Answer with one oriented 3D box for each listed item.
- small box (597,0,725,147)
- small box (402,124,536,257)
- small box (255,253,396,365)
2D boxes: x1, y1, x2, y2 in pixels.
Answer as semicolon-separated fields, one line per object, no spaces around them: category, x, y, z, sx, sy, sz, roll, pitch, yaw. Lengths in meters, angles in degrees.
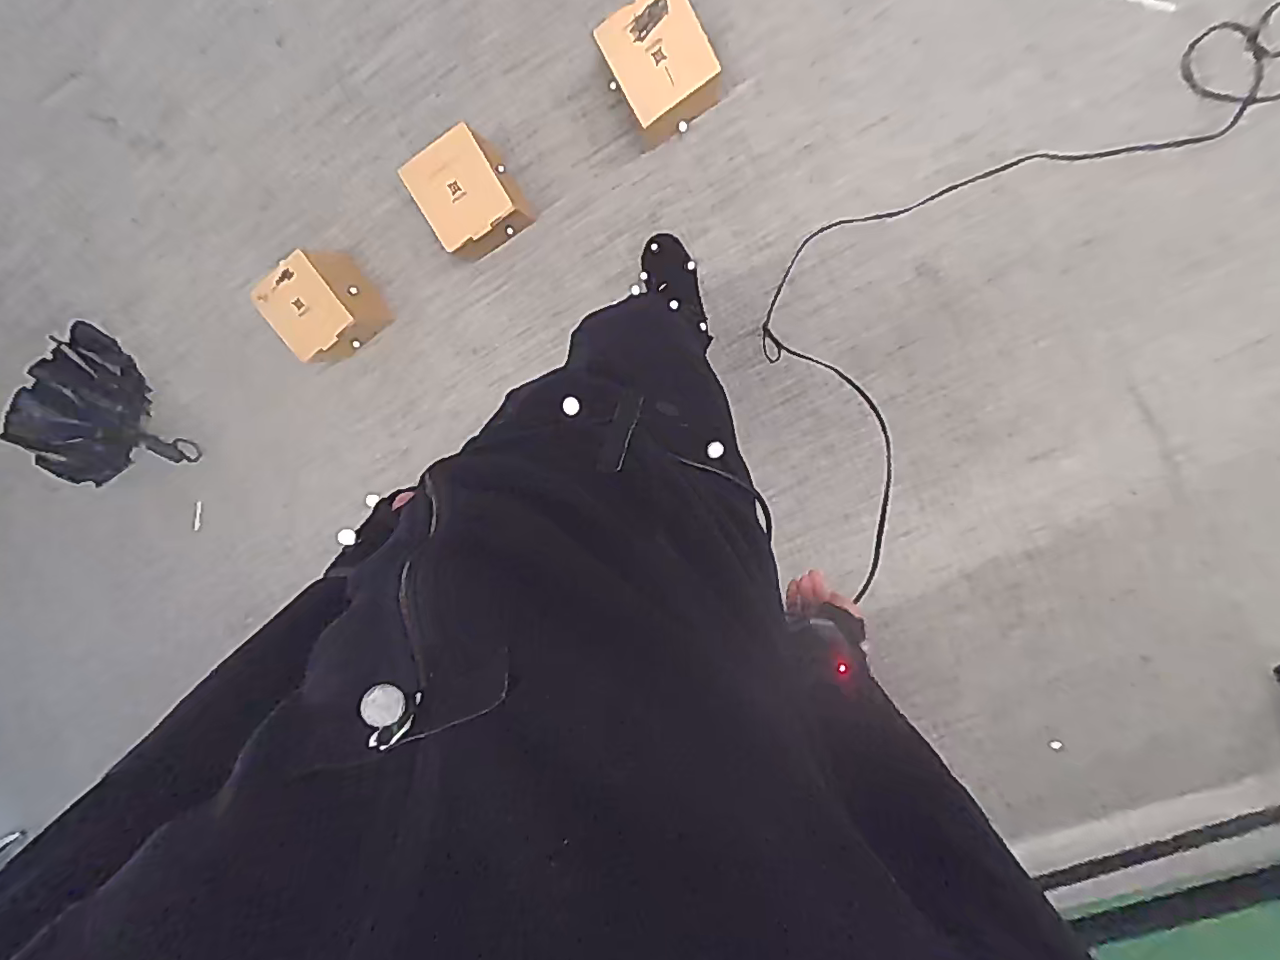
small box;0.043;-0.772;1.017;0.168;0.176;0.179;-29;104;15
small box;-0.342;-0.584;1.121;0.168;0.176;0.179;-29;102;13
small box;-0.695;-0.387;1.219;0.168;0.176;0.179;-32;103;14
